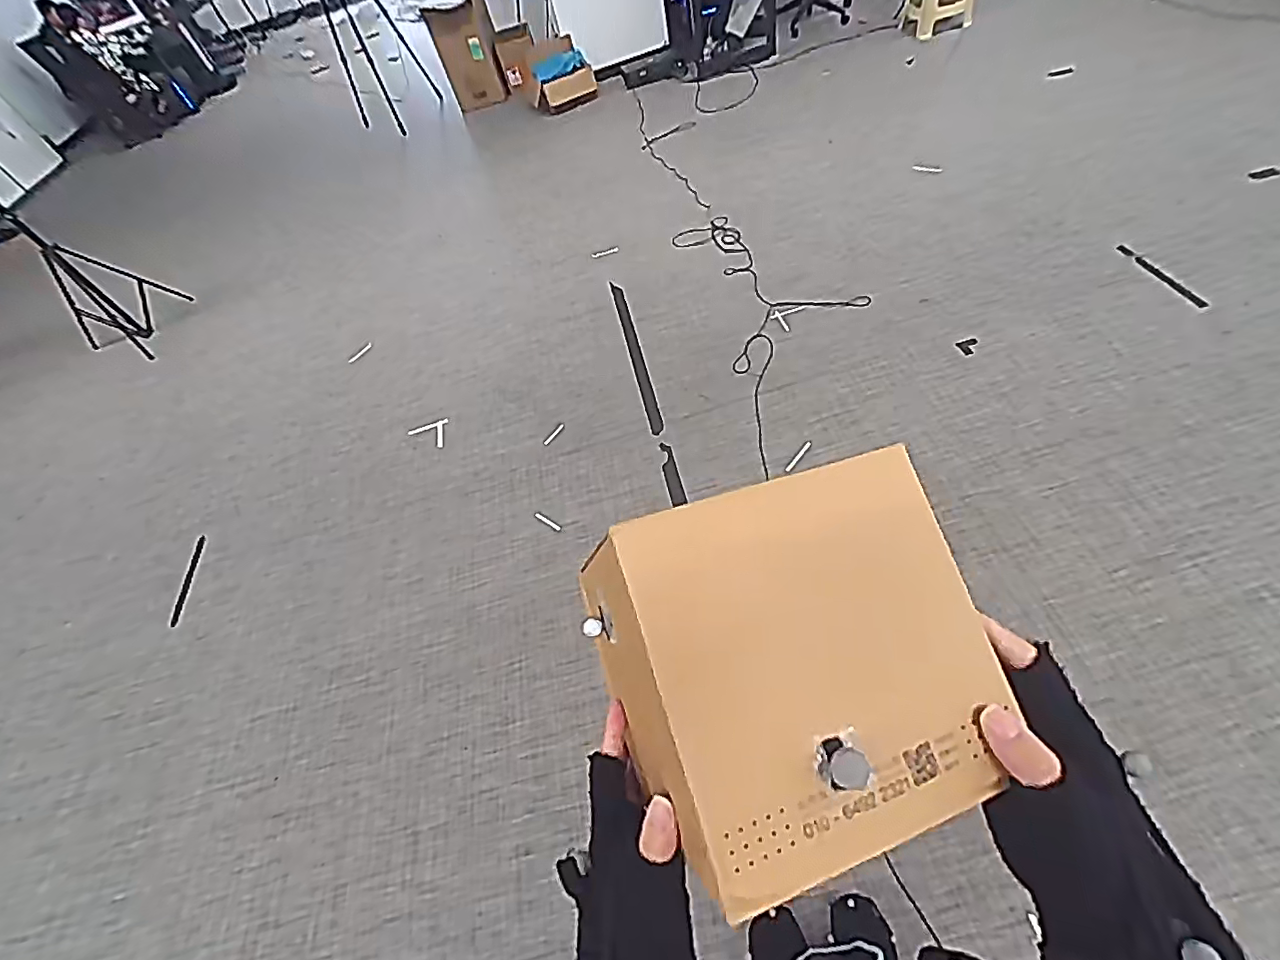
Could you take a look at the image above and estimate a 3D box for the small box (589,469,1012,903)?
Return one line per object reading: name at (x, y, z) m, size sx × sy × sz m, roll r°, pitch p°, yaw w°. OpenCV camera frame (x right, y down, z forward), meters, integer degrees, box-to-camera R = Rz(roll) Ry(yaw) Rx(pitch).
small box at (0.073, 0.113, 0.340) m, size 0.168 × 0.179 × 0.176 m, roll -15°, pitch 77°, yaw -14°
